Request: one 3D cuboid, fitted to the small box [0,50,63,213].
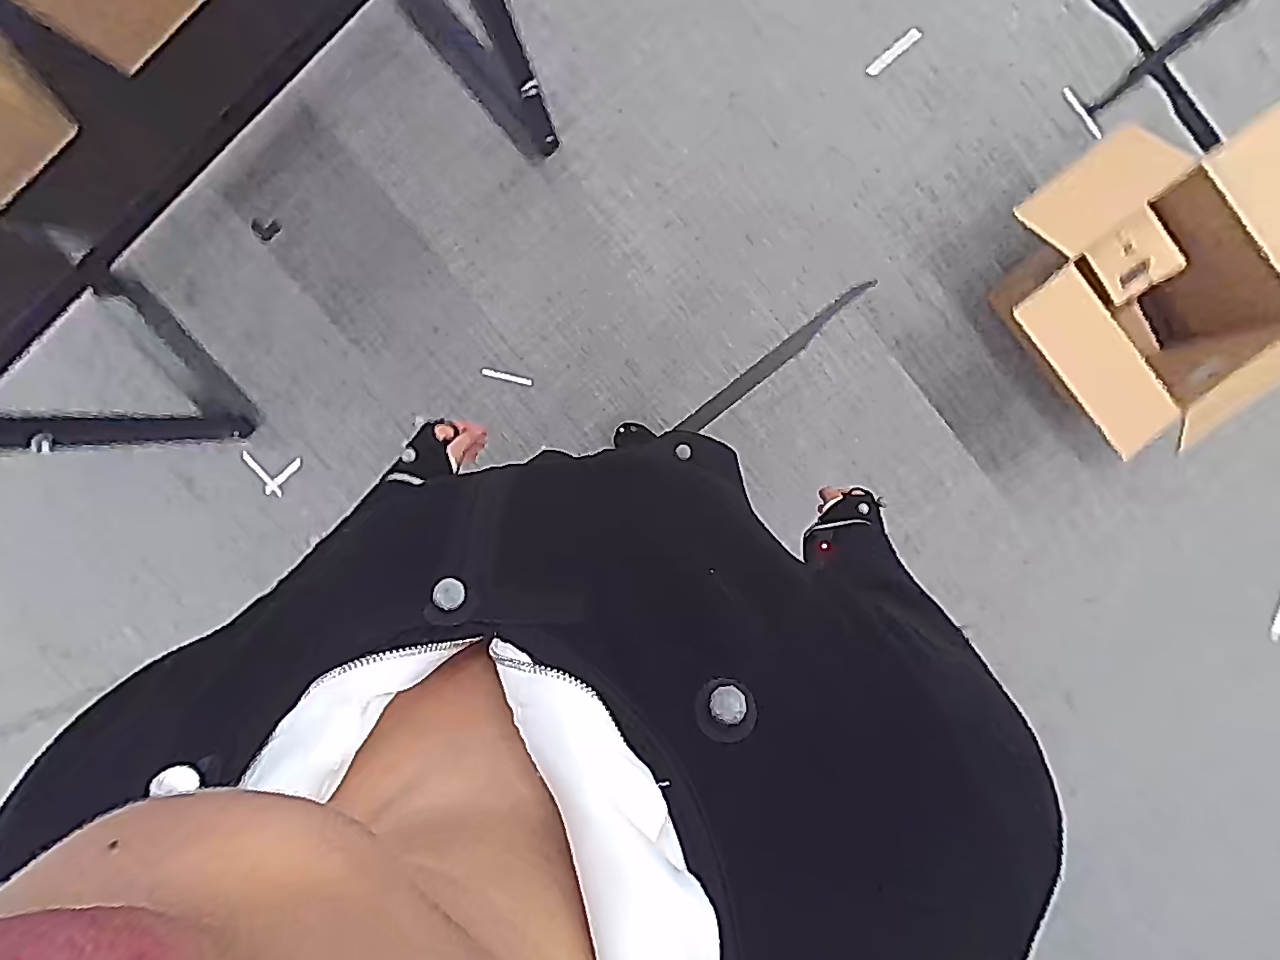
[{"bbox_3d":[-0.878,-0.463,0.653,0.179,0.176,0.168,-39,93,6],"label":"small box"}]
